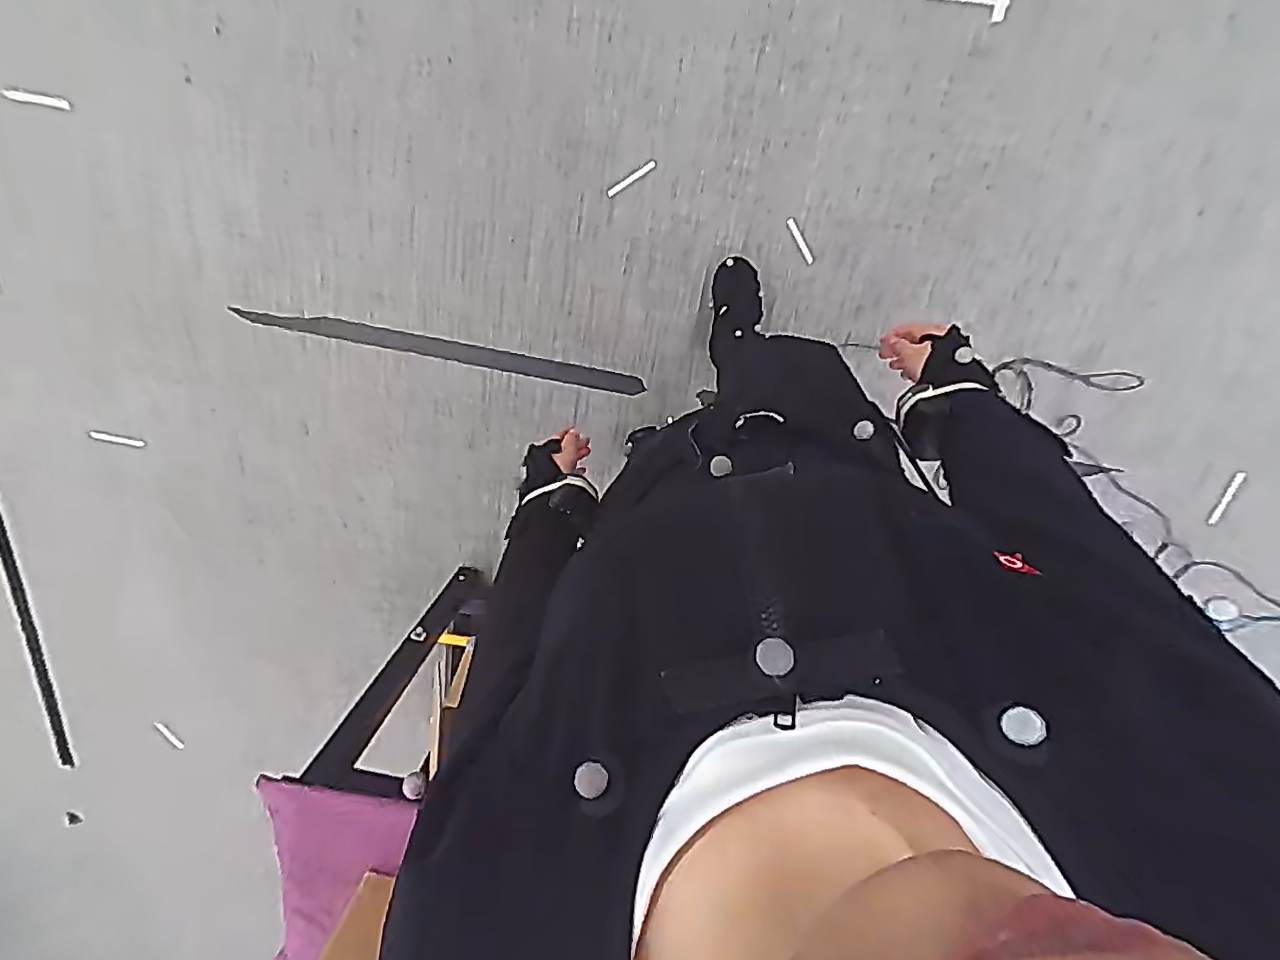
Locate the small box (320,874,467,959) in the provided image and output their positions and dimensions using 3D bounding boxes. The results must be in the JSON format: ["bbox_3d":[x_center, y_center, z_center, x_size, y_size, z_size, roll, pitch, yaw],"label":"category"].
[{"bbox_3d":[-0.401,0.777,0.866,0.179,0.176,0.168,15,112,-2],"label":"small box"}]
